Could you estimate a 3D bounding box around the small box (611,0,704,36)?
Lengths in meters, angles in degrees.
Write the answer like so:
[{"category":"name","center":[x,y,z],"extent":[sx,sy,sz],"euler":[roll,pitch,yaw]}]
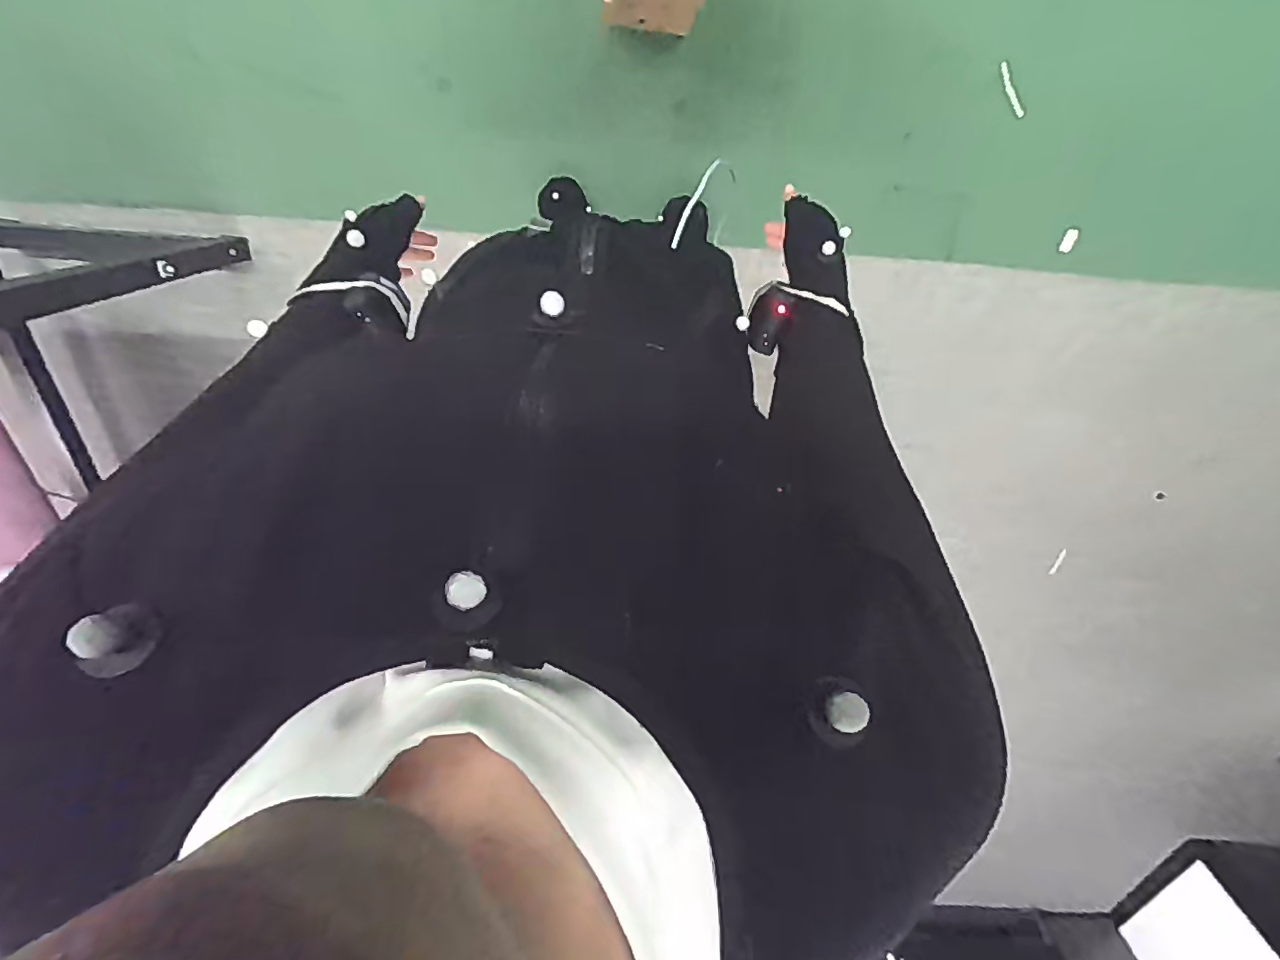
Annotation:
[{"category":"small box","center":[0.037,-0.936,0.973],"extent":[0.168,0.176,0.179],"euler":[6,121,-3]}]
